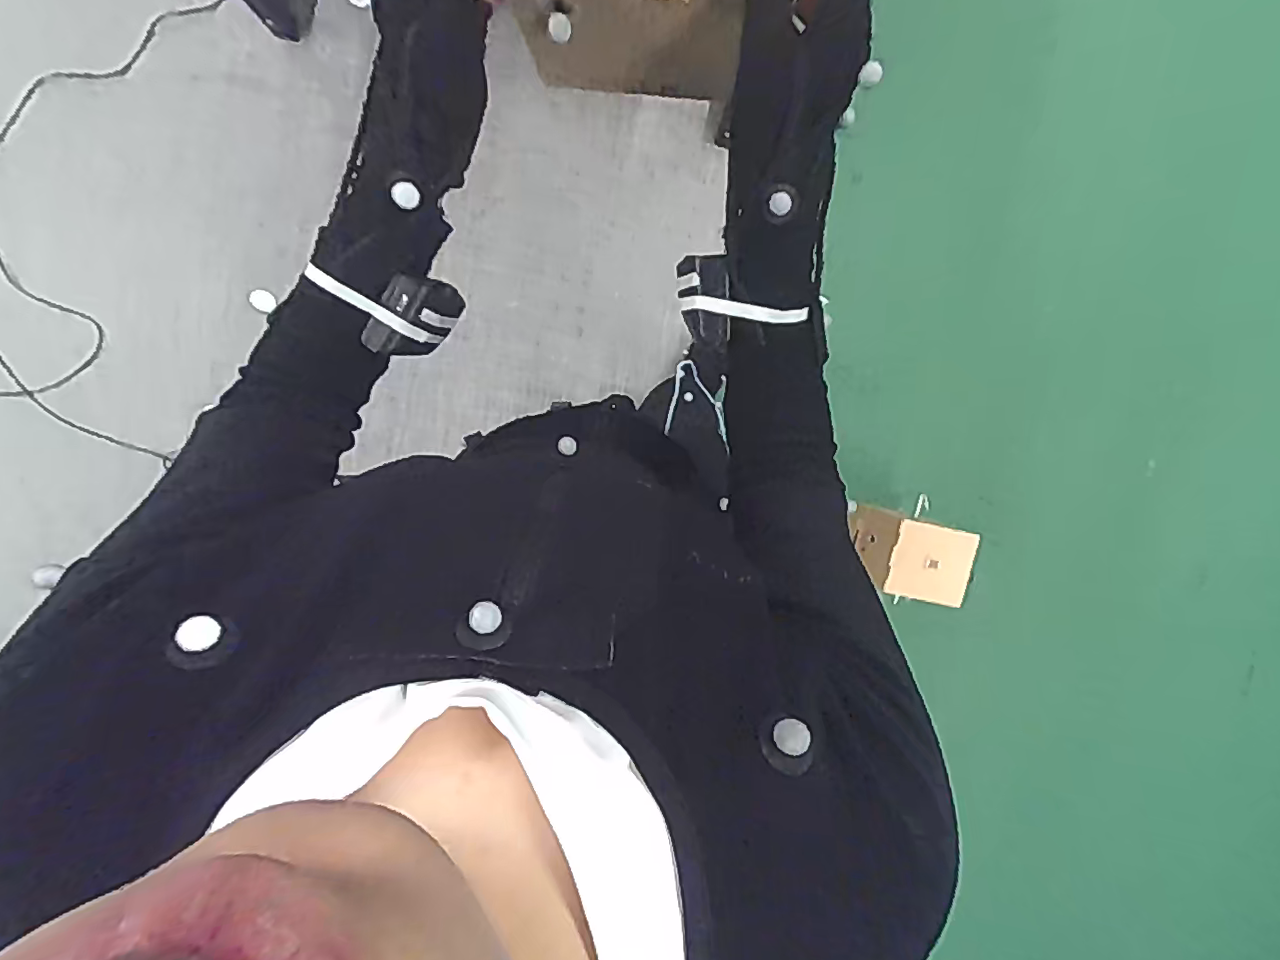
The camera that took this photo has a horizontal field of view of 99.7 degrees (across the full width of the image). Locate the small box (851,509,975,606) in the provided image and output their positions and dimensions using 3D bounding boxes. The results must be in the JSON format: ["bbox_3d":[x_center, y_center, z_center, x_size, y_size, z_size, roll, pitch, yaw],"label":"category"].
[{"bbox_3d":[0.620,0.171,1.250,0.179,0.176,0.168,12,96,-2],"label":"small box"}]

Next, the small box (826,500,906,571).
[{"bbox_3d":[0.616,0.155,1.412,0.179,0.176,0.168,14,95,-2],"label":"small box"}]
